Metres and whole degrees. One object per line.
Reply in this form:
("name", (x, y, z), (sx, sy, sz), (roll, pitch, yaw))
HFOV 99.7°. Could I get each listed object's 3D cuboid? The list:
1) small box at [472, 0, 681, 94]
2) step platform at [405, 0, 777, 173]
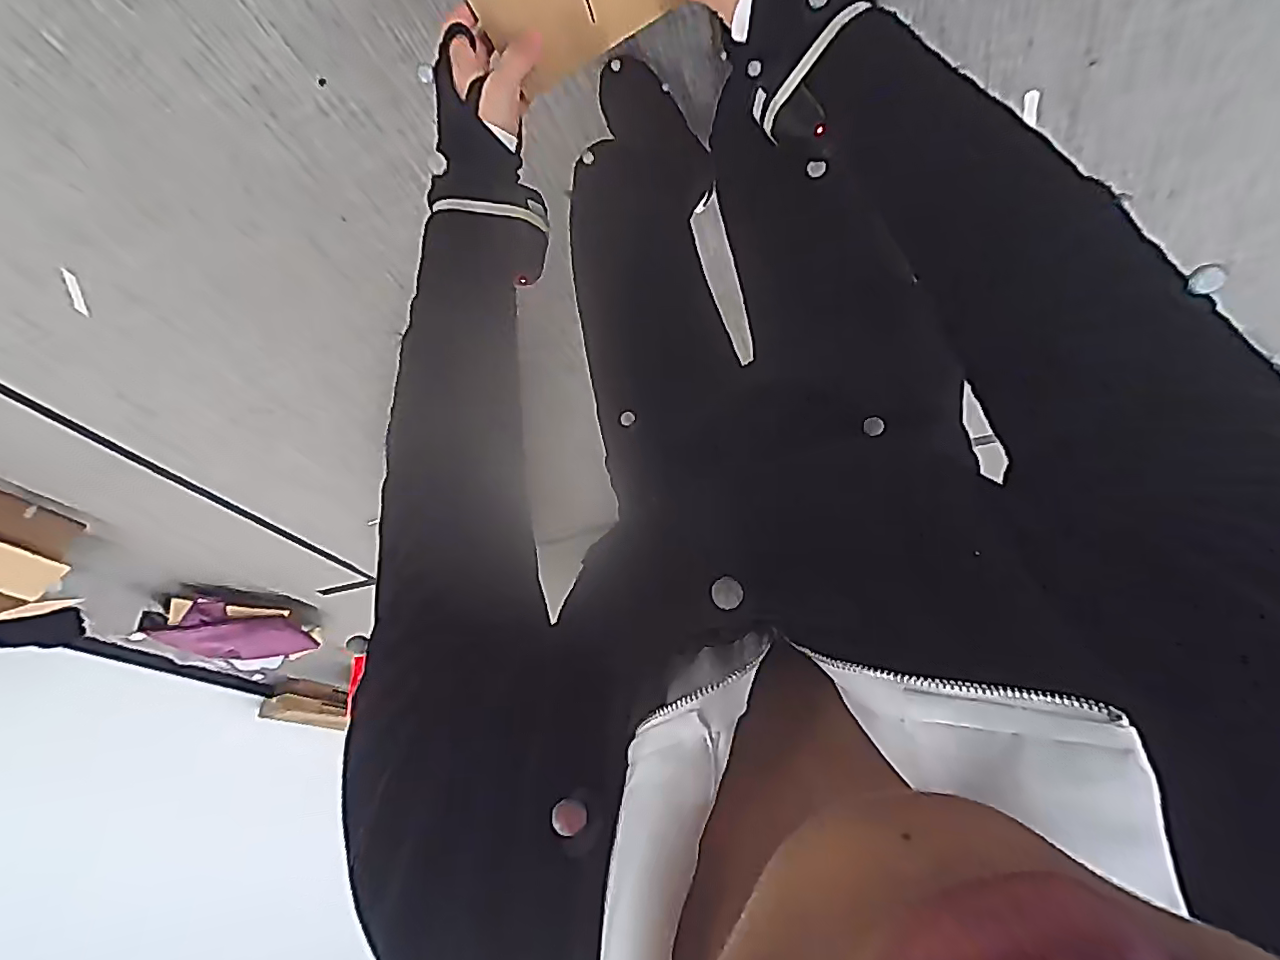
("small box", (-0.063, -0.458, 0.419), (0.168, 0.176, 0.179), (-17, 141, 21))
("step platform", (0.107, -0.578, 0.478), (0.684, 0.204, 0.286), (-17, 141, 20))
